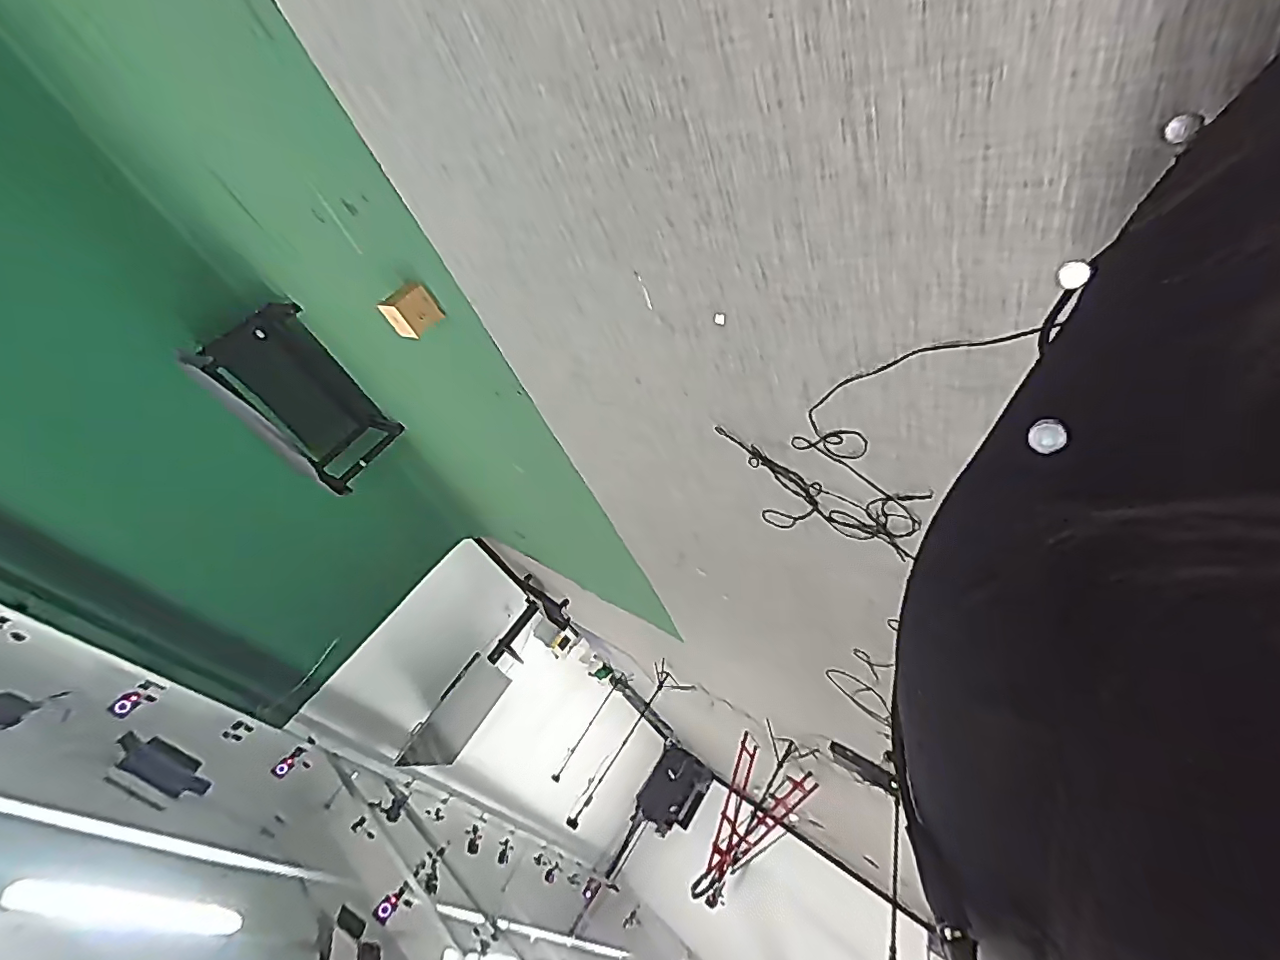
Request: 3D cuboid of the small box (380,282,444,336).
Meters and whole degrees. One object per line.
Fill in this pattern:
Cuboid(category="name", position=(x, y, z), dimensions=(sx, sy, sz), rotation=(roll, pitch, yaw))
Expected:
Cuboid(category="small box", position=(-1.005, -0.764, 2.405), dimensions=(0.179, 0.176, 0.168), rotation=(18, 150, 41))
